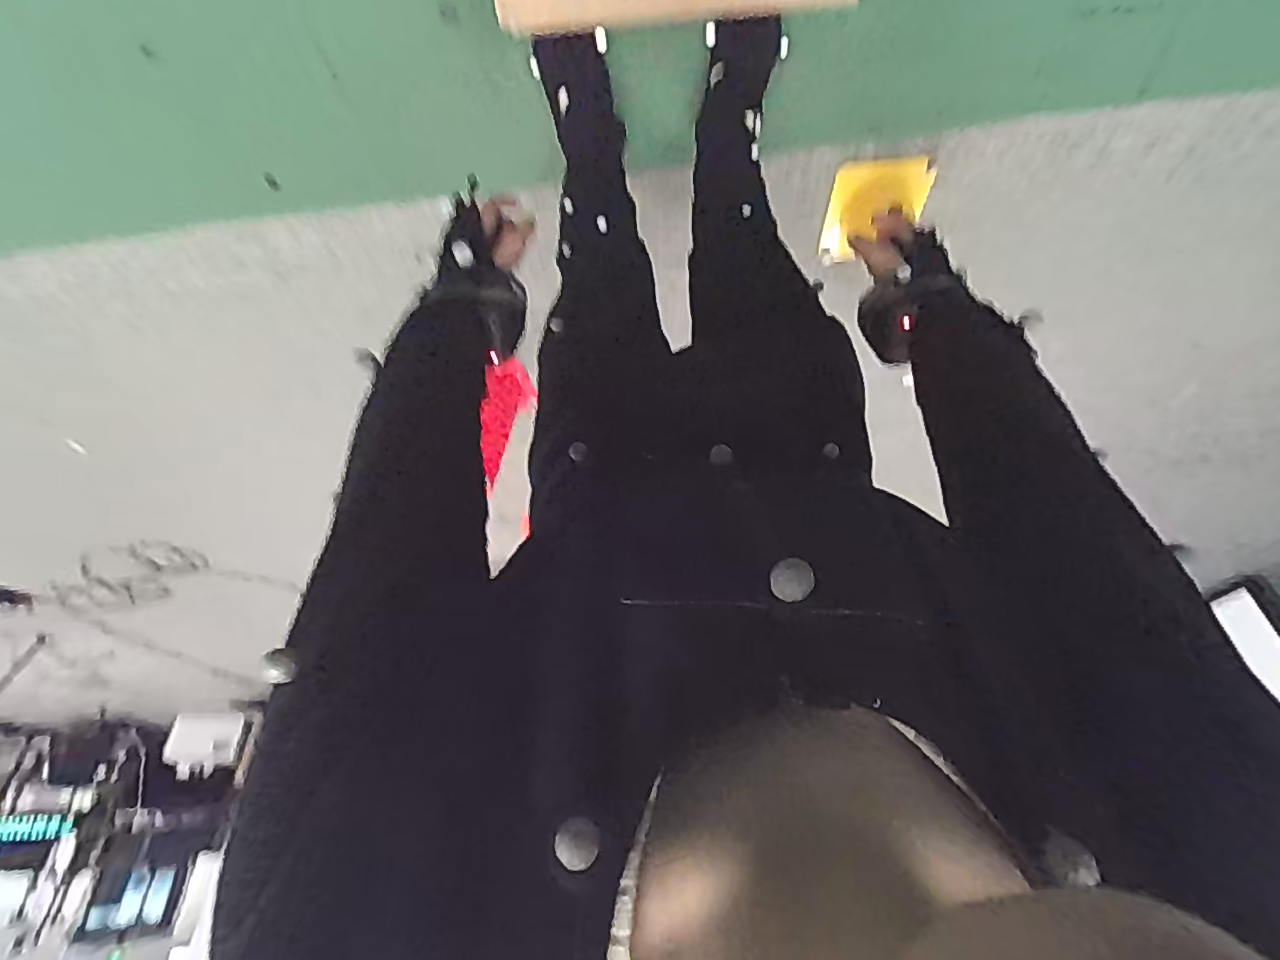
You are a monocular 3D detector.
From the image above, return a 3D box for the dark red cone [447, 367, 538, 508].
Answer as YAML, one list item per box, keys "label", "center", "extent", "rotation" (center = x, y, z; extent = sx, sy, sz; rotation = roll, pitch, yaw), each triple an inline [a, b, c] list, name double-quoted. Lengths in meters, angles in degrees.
- label: "dark red cone"
  center: [-0.402, -0.099, 1.399]
  extent: [0.202, 0.394, 0.201]
  rotation: [-9, 143, 11]

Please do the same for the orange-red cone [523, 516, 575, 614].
- label: "orange-red cone"
  center: [-0.371, 0.345, 2.106]
  extent: [0.199, 0.360, 0.198]
  rotation: [8, 144, -11]
